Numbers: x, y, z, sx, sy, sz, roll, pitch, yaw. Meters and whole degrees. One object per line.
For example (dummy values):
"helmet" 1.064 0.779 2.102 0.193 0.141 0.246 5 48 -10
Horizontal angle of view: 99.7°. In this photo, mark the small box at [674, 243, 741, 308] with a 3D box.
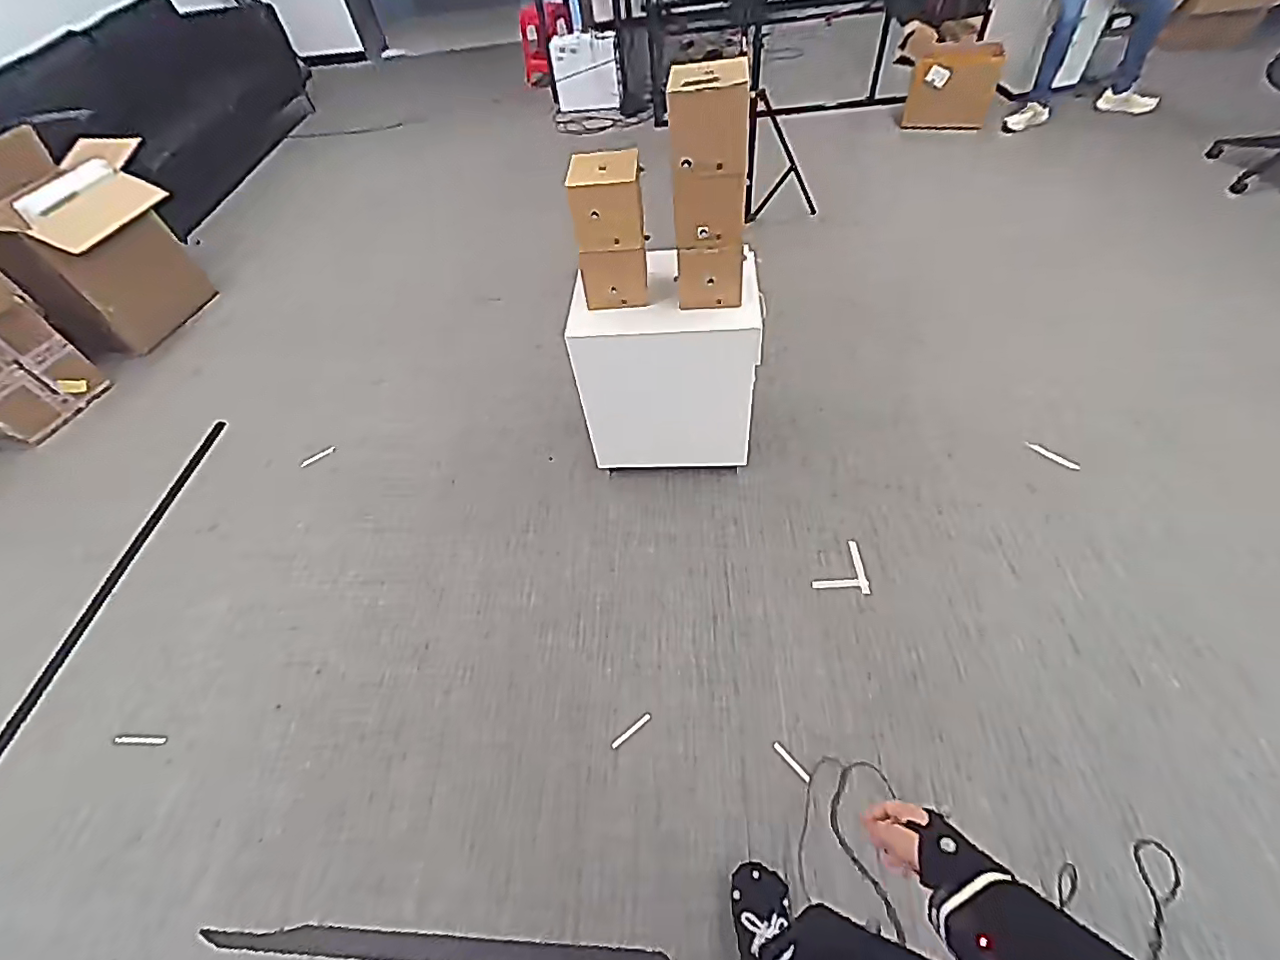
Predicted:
"small box" 0.183 -0.570 1.426 0.168 0.176 0.179 -1 53 8

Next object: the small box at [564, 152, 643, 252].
"small box" -0.082 -0.680 1.338 0.168 0.176 0.179 -2 51 5

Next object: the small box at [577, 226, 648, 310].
"small box" -0.069 -0.584 1.467 0.168 0.176 0.179 -3 52 5

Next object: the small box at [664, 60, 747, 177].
"small box" 0.148 -0.776 1.173 0.168 0.176 0.179 0 51 9

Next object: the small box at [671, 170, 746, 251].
"small box" 0.166 -0.677 1.303 0.168 0.176 0.179 -1 53 8
